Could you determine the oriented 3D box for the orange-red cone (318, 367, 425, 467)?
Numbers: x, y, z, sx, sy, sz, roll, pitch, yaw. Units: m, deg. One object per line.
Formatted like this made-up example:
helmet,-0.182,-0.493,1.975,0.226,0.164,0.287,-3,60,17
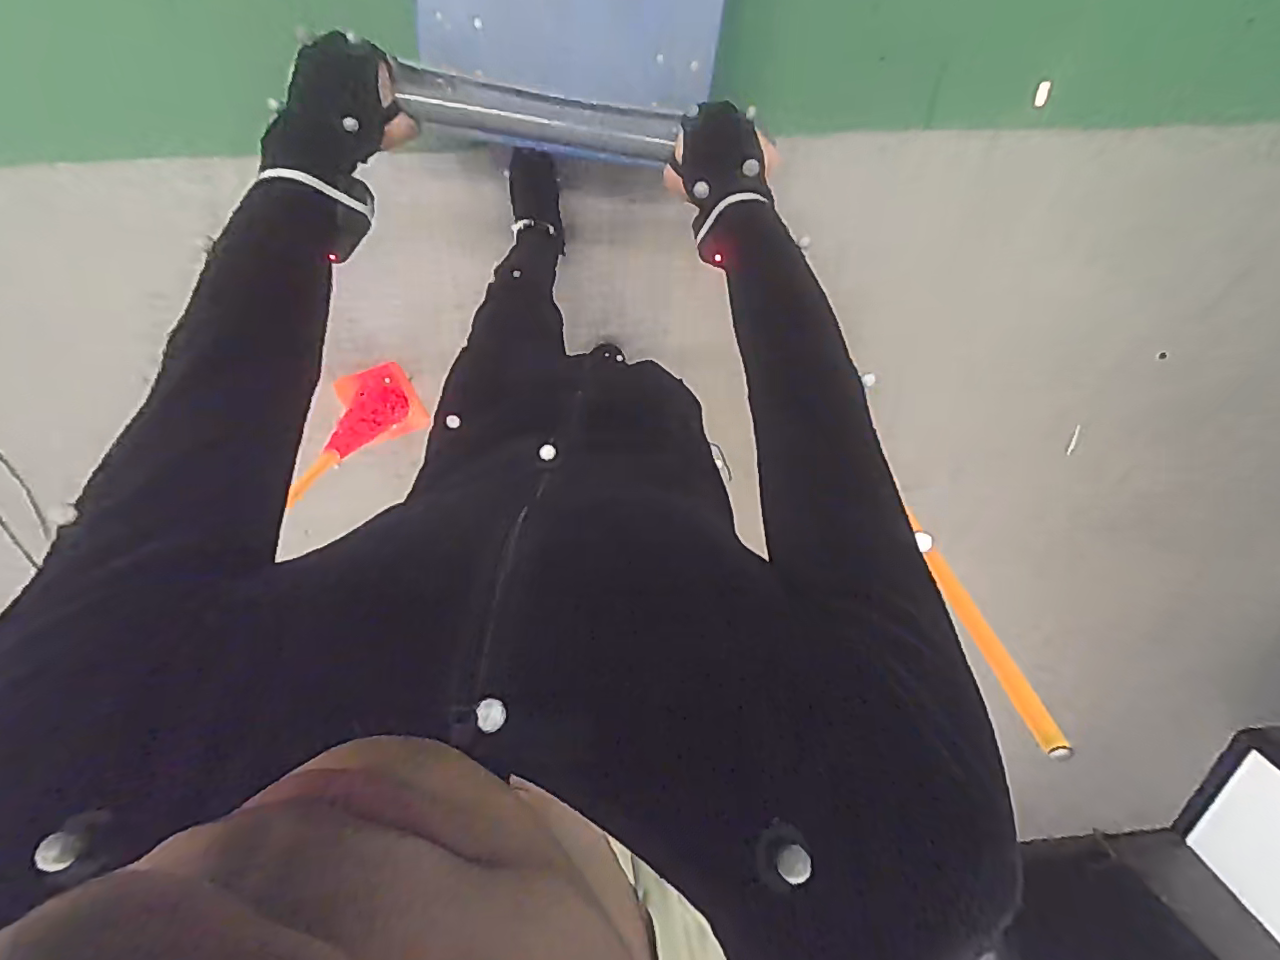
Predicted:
orange-red cone,-0.713,-0.126,1.358,0.199,0.360,0.198,-16,118,4
